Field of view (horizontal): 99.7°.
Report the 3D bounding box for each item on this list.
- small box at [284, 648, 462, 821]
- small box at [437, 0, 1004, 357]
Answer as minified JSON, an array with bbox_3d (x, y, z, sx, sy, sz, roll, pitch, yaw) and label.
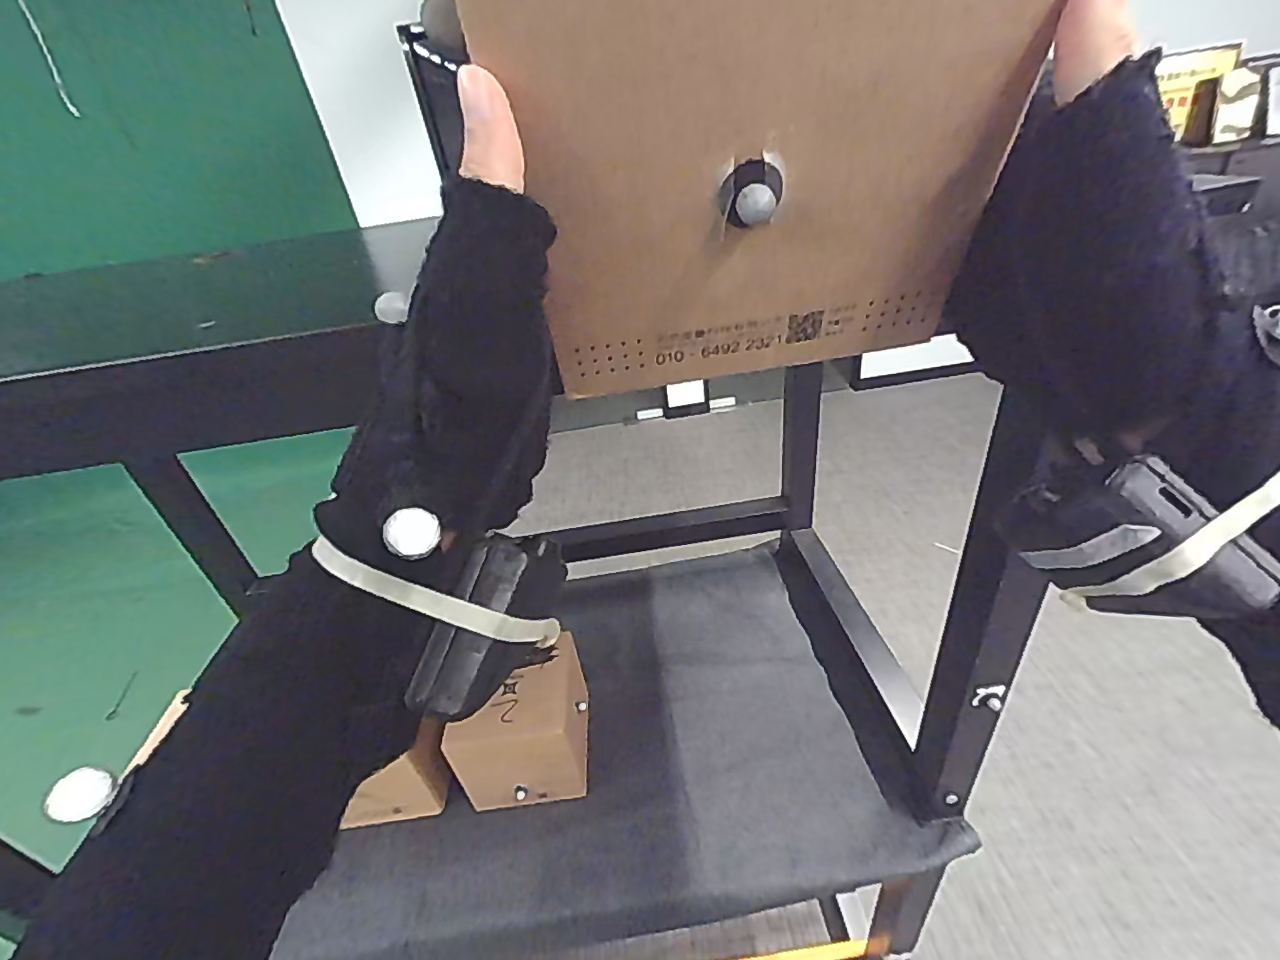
[{"bbox_3d":[-0.386,0.390,0.824,0.168,0.176,0.179,-8,31,0],"label":"small box"},{"bbox_3d":[0.025,-0.168,0.229,0.168,0.176,0.179,-9,51,0],"label":"small box"}]
